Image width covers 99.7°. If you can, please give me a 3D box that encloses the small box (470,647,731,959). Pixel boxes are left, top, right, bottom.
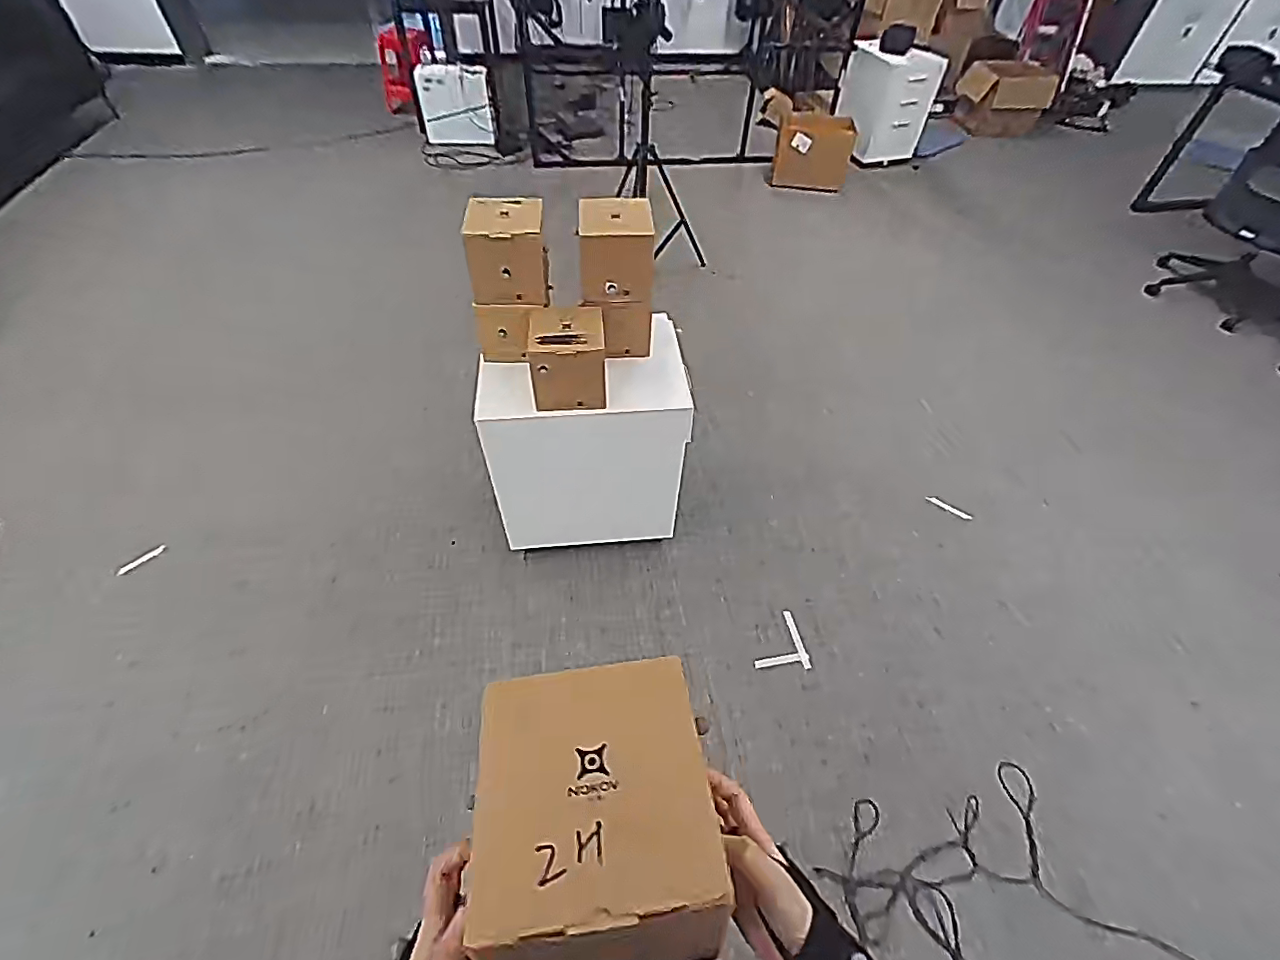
[{"bbox_3d":[-0.032,0.270,0.447,0.168,0.176,0.179,-7,38,-5],"label":"small box"}]

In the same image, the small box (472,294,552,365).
[{"bbox_3d":[-0.314,-0.406,1.363,0.168,0.176,0.179,-1,50,-4],"label":"small box"}]

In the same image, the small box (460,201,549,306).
[{"bbox_3d":[-0.301,-0.516,1.241,0.168,0.176,0.179,-2,51,-4],"label":"small box"}]

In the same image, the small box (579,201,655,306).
[{"bbox_3d":[-0.057,-0.527,1.261,0.168,0.176,0.179,-3,52,-4],"label":"small box"}]
